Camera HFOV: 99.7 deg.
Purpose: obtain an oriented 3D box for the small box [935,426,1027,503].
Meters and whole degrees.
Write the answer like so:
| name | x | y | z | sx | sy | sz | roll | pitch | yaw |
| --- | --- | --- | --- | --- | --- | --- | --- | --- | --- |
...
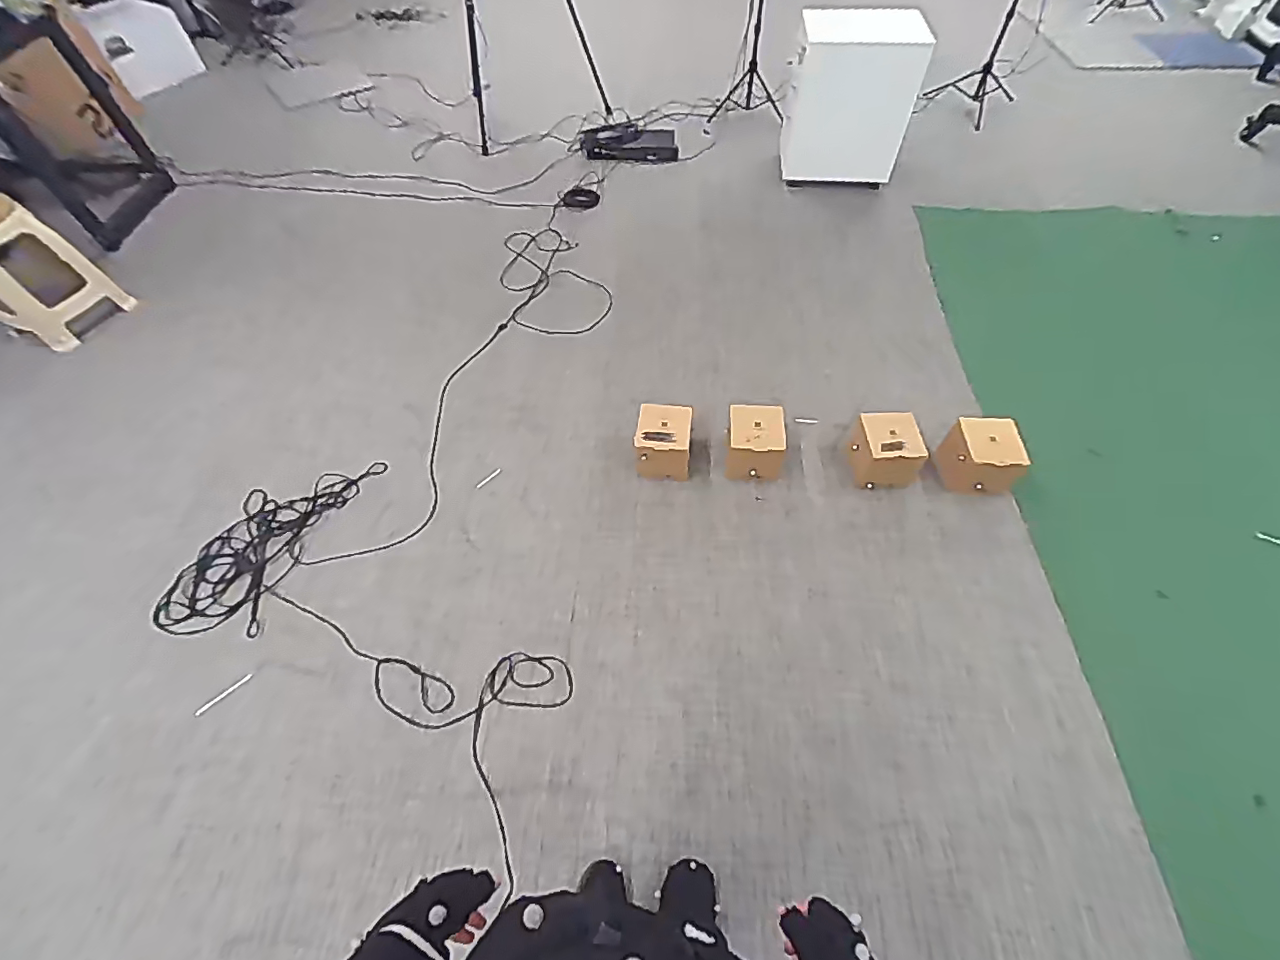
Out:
| name | x | y | z | sx | sy | sz | roll | pitch | yaw |
| --- | --- | --- | --- | --- | --- | --- | --- | --- | --- |
| small box | 1.052 | -0.047 | 1.689 | 0.168 | 0.176 | 0.179 | 2 | 55 | 3 |

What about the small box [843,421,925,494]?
| name | x | y | z | sx | sy | sz | roll | pitch | yaw |
| --- | --- | --- | --- | --- | --- | --- | --- | --- | --- |
| small box | 0.761 | -0.067 | 1.704 | 0.168 | 0.176 | 0.179 | 0 | 54 | 0 |

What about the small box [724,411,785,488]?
| name | x | y | z | sx | sy | sz | roll | pitch | yaw |
| --- | --- | --- | --- | --- | --- | --- | --- | --- | --- |
| small box | 0.360 | -0.096 | 1.727 | 0.168 | 0.176 | 0.179 | 3 | 56 | 4 |
